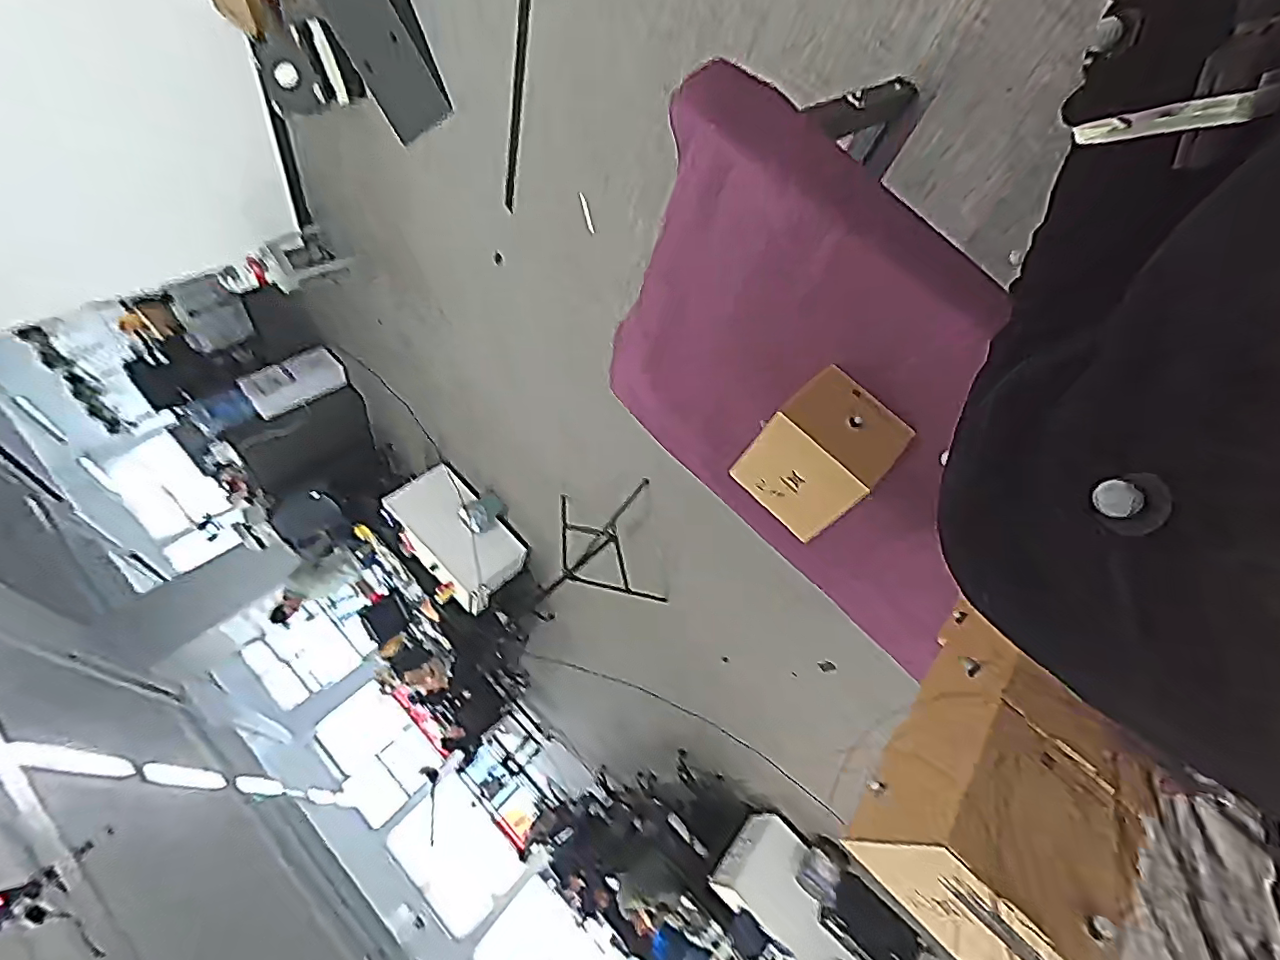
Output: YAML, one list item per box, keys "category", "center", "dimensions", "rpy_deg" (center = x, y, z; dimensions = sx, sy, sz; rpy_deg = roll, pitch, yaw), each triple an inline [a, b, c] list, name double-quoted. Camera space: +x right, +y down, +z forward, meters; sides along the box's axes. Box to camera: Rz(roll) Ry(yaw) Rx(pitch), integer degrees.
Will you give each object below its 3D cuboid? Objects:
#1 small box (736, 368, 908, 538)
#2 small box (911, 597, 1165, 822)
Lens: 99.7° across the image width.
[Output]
- category: "small box"
  center: [0.291, -0.046, 0.858]
  dimensions: [0.168, 0.176, 0.179]
  rpy_deg: [44, 147, 11]
- category: "small box"
  center: [0.474, 0.272, 0.651]
  dimensions: [0.168, 0.176, 0.179]
  rpy_deg: [41, 146, 15]
